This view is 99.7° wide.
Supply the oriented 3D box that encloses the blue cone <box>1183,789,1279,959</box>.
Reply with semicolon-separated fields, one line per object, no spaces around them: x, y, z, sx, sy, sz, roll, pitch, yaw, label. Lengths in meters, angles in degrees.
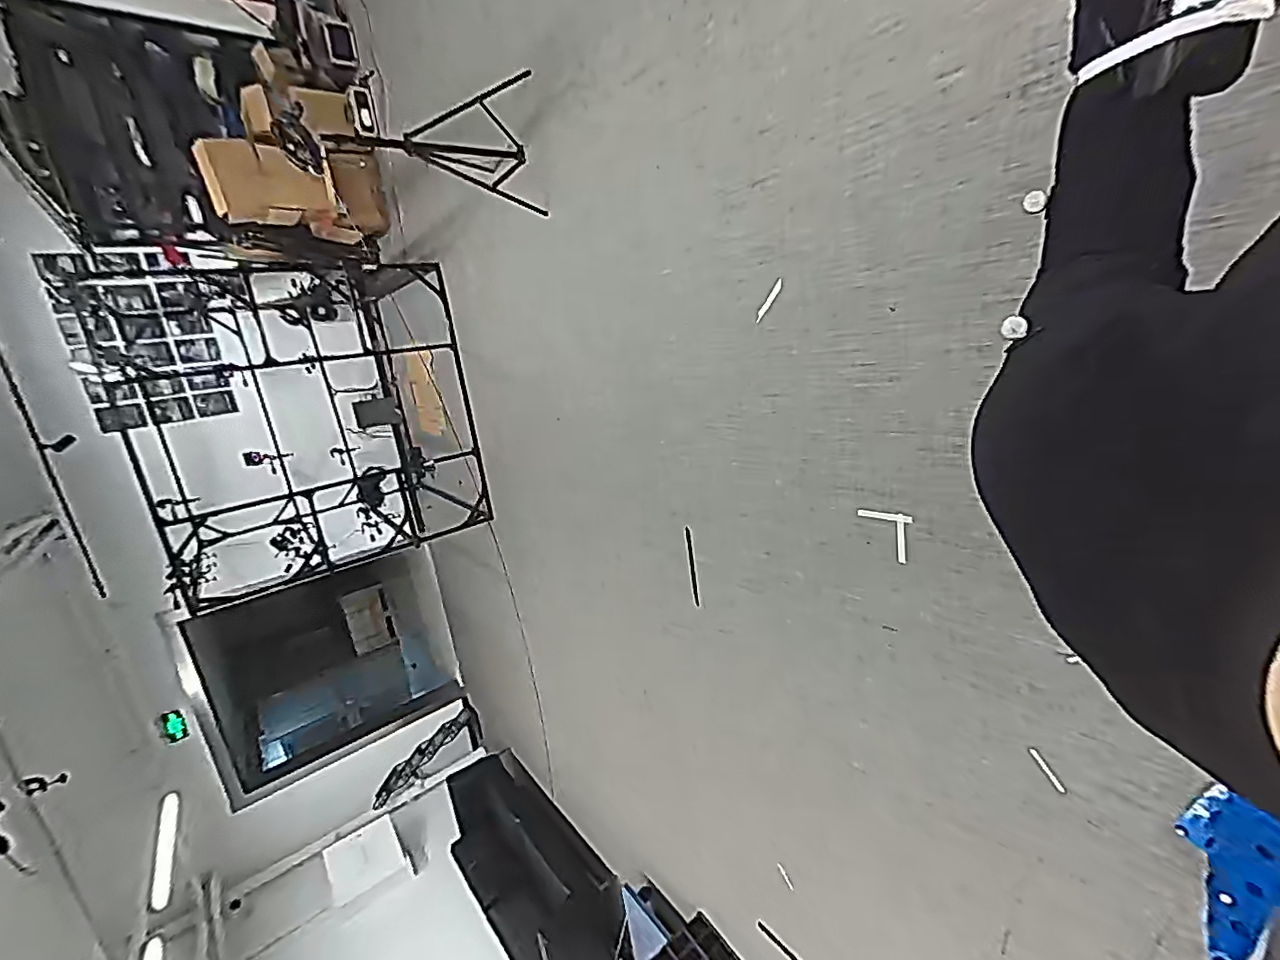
1.209;0.824;1.082;0.193;0.380;0.192;38;134;41;blue cone
